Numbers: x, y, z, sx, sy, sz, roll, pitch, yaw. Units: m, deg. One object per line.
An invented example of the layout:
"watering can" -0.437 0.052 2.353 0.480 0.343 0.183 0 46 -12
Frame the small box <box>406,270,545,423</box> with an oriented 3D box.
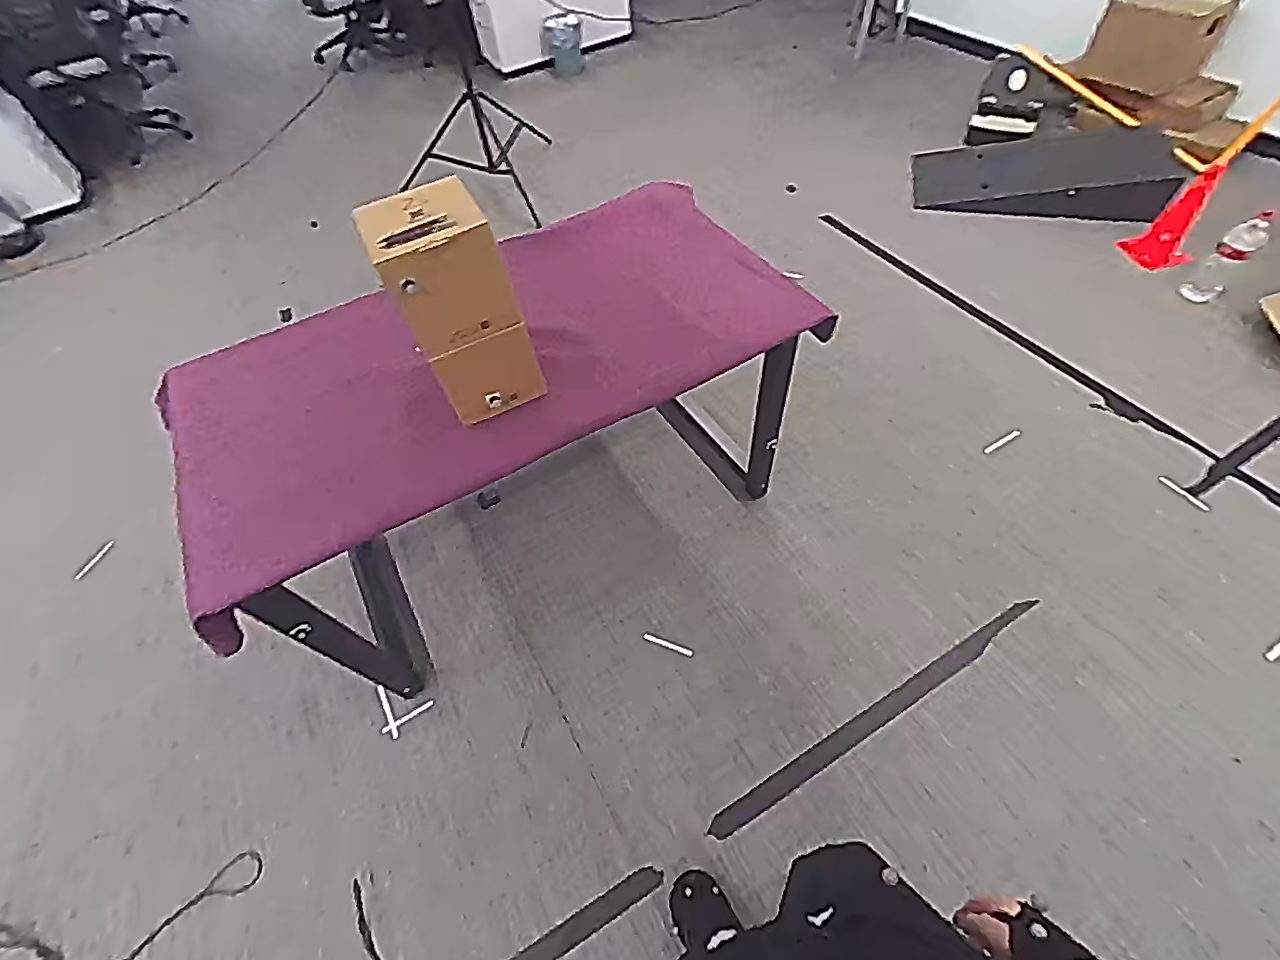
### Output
"small box" -0.290 -0.236 0.971 0.168 0.176 0.179 -26 58 -12
